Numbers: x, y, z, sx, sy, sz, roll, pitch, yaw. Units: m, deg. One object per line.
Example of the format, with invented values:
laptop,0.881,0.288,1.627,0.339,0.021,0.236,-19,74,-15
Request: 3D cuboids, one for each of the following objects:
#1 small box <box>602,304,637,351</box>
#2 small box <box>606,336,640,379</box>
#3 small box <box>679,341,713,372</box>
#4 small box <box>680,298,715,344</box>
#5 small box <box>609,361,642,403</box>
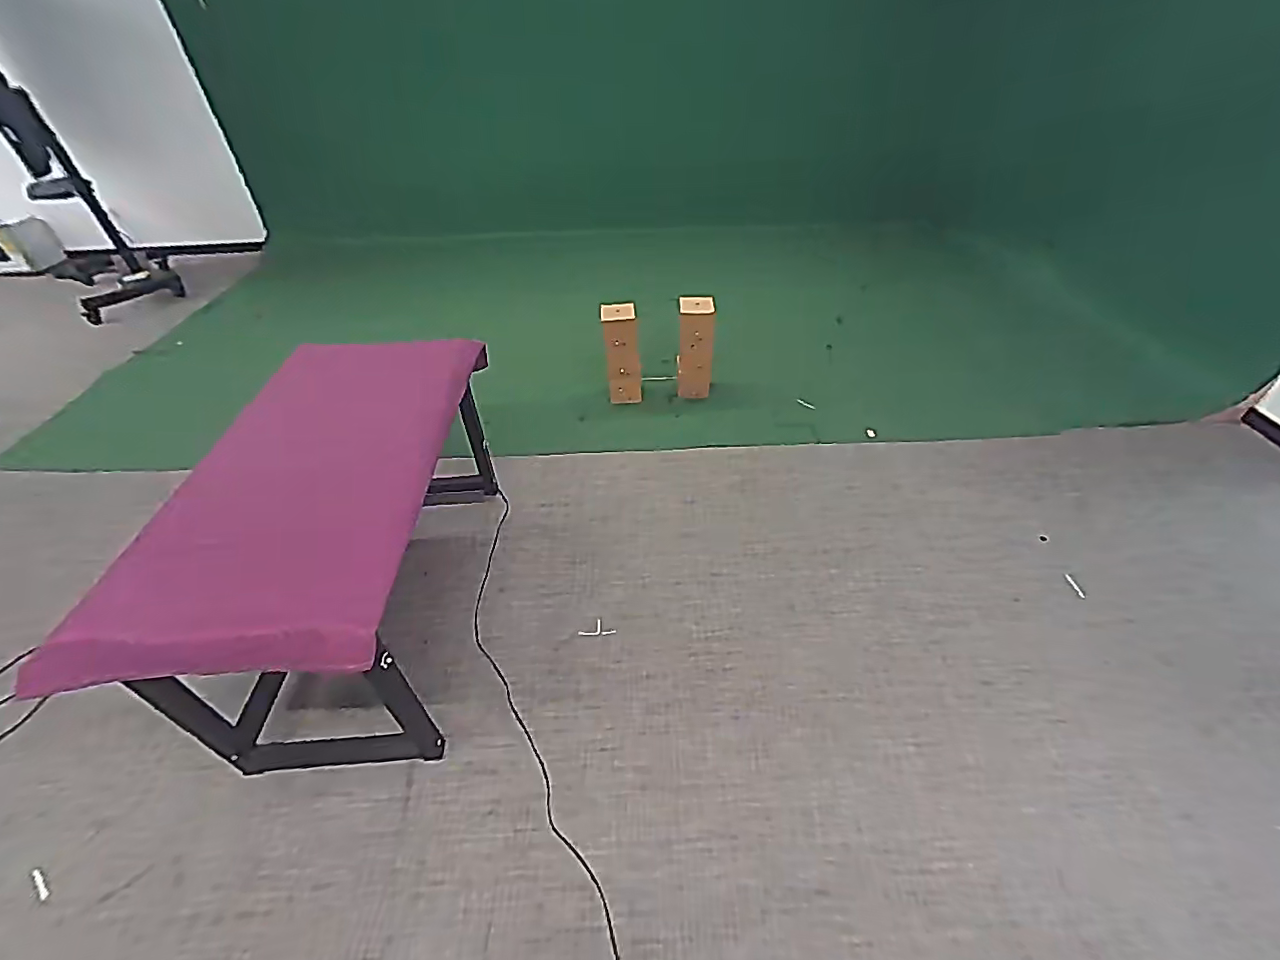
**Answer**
small box,-0.102,-0.763,2.709,0.168,0.176,0.179,-5,42,0
small box,-0.089,-0.644,2.819,0.168,0.176,0.179,-4,43,-1
small box,0.293,-0.686,2.844,0.168,0.176,0.179,0,42,3
small box,0.286,-0.804,2.730,0.168,0.176,0.179,0,43,3
small box,-0.075,-0.527,2.934,0.168,0.176,0.179,-2,41,1
